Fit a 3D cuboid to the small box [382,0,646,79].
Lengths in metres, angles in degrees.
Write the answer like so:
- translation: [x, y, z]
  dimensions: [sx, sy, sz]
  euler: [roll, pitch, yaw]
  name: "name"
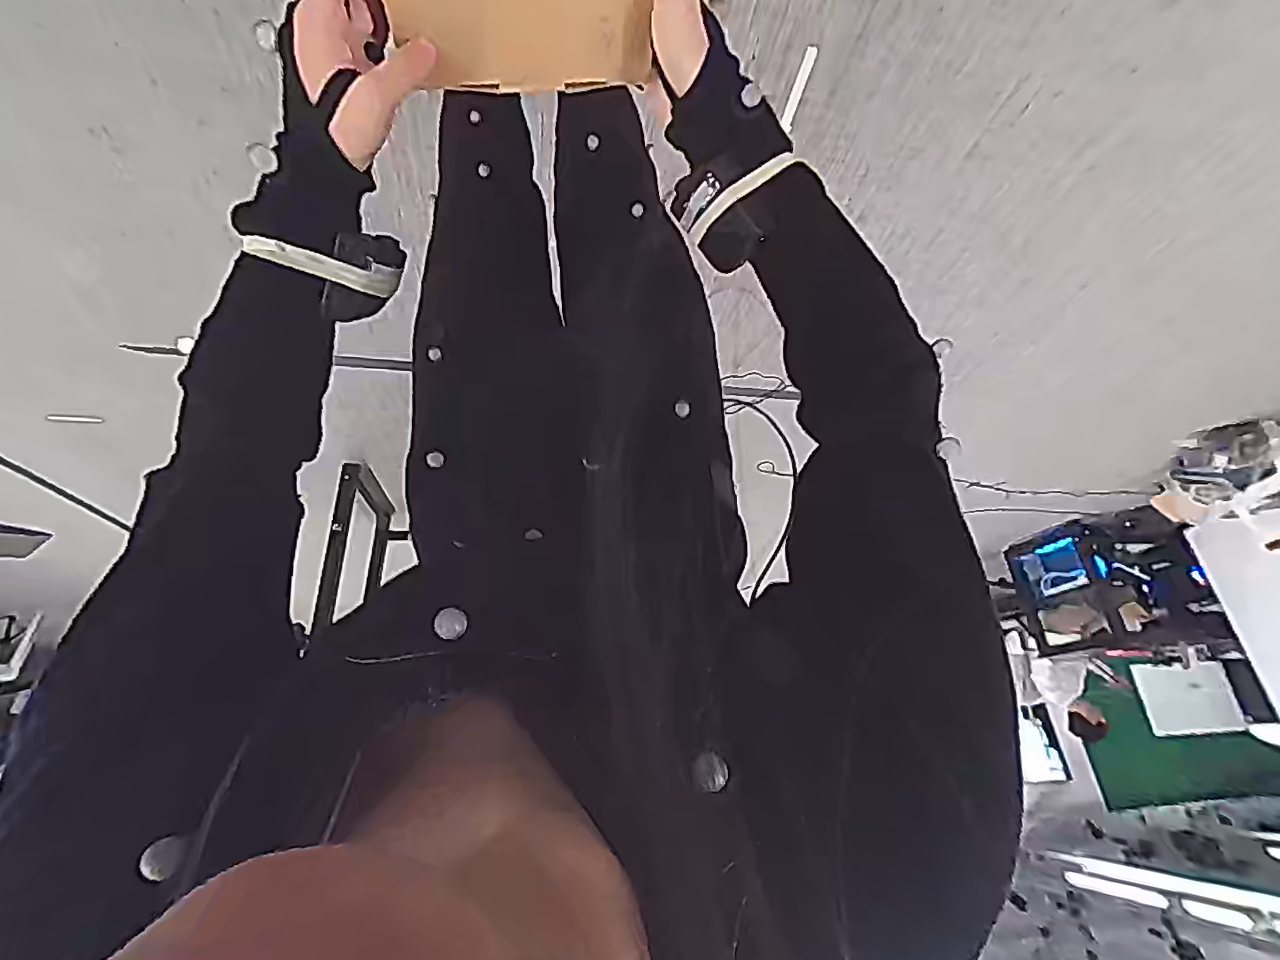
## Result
- translation: [-0.082, -0.389, 0.336]
  dimensions: [0.168, 0.176, 0.179]
  euler: [-5, 148, -4]
  name: "small box"
